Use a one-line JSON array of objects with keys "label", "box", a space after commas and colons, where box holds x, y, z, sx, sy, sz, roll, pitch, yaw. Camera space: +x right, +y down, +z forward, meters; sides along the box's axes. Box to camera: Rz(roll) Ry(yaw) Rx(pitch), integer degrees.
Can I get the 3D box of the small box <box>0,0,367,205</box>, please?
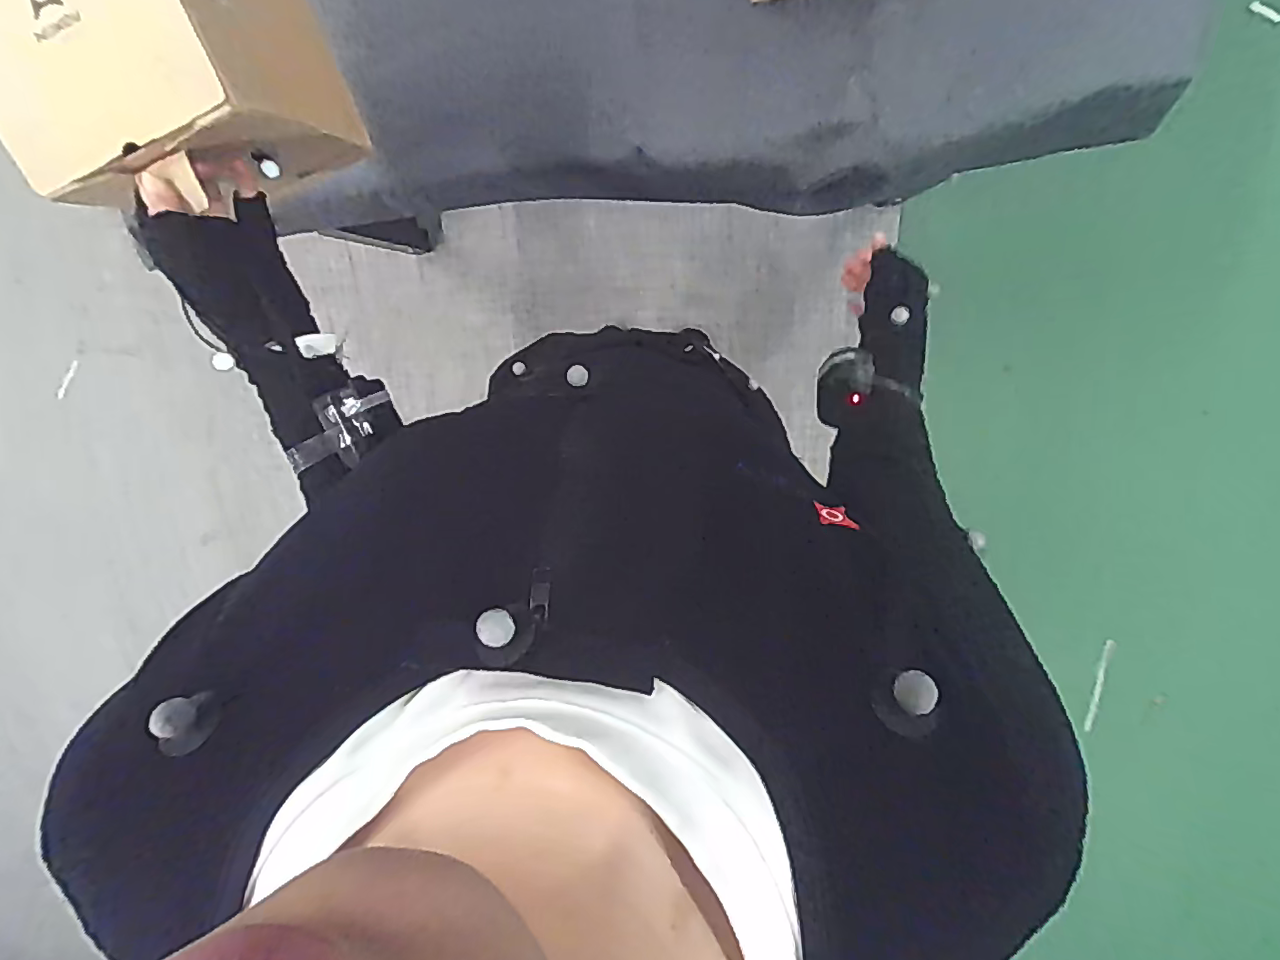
[{"label": "small box", "box": [-0.341, -0.317, 0.390, 0.168, 0.176, 0.179, -17, 108, 12]}]
